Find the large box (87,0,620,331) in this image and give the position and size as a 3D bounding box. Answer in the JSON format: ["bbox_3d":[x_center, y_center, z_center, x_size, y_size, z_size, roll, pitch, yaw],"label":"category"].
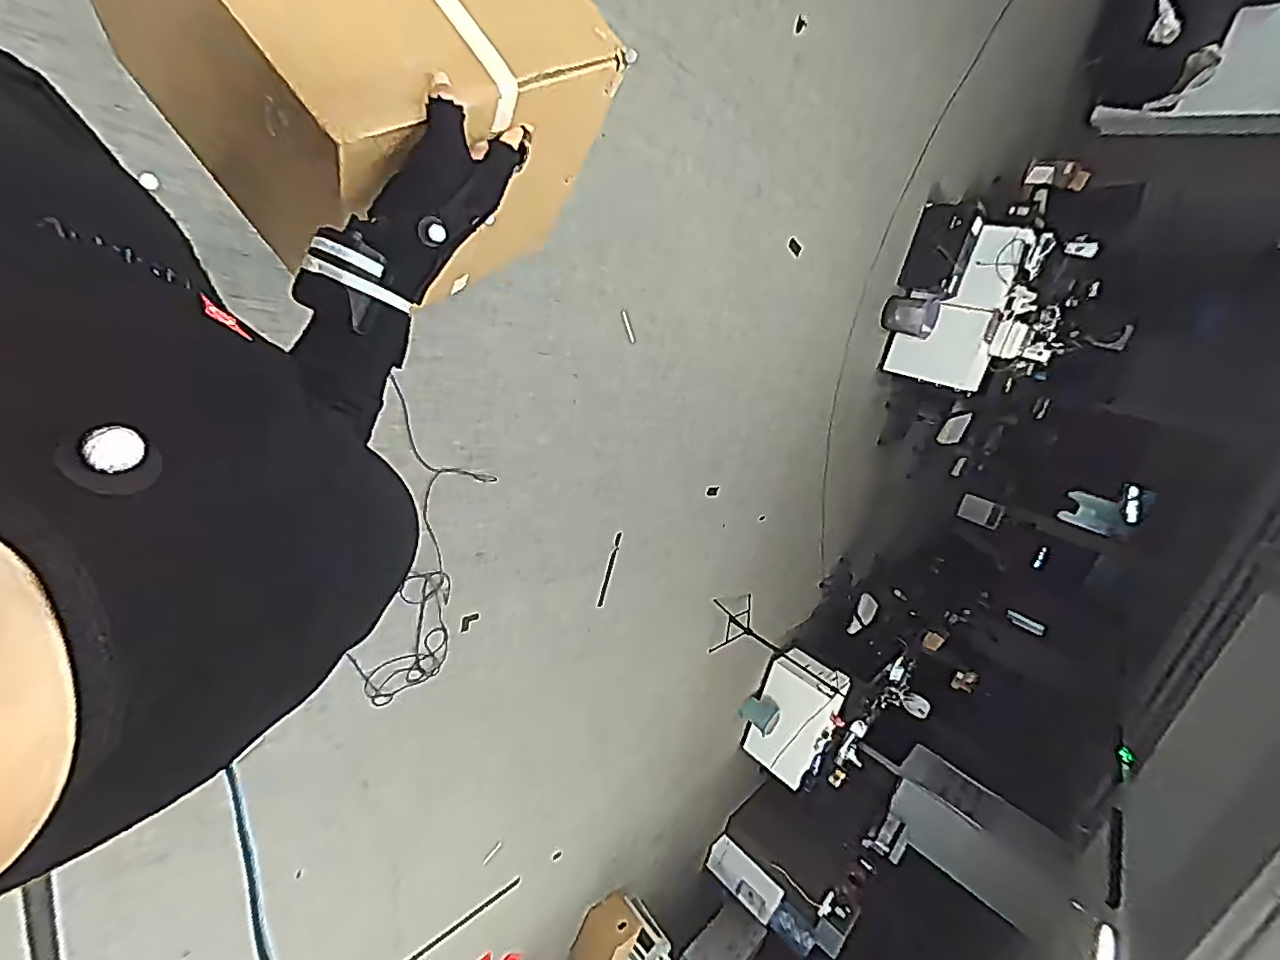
[{"bbox_3d":[-0.306,-0.448,0.571,0.320,0.320,0.408,-42,97,-29],"label":"large box"}]
